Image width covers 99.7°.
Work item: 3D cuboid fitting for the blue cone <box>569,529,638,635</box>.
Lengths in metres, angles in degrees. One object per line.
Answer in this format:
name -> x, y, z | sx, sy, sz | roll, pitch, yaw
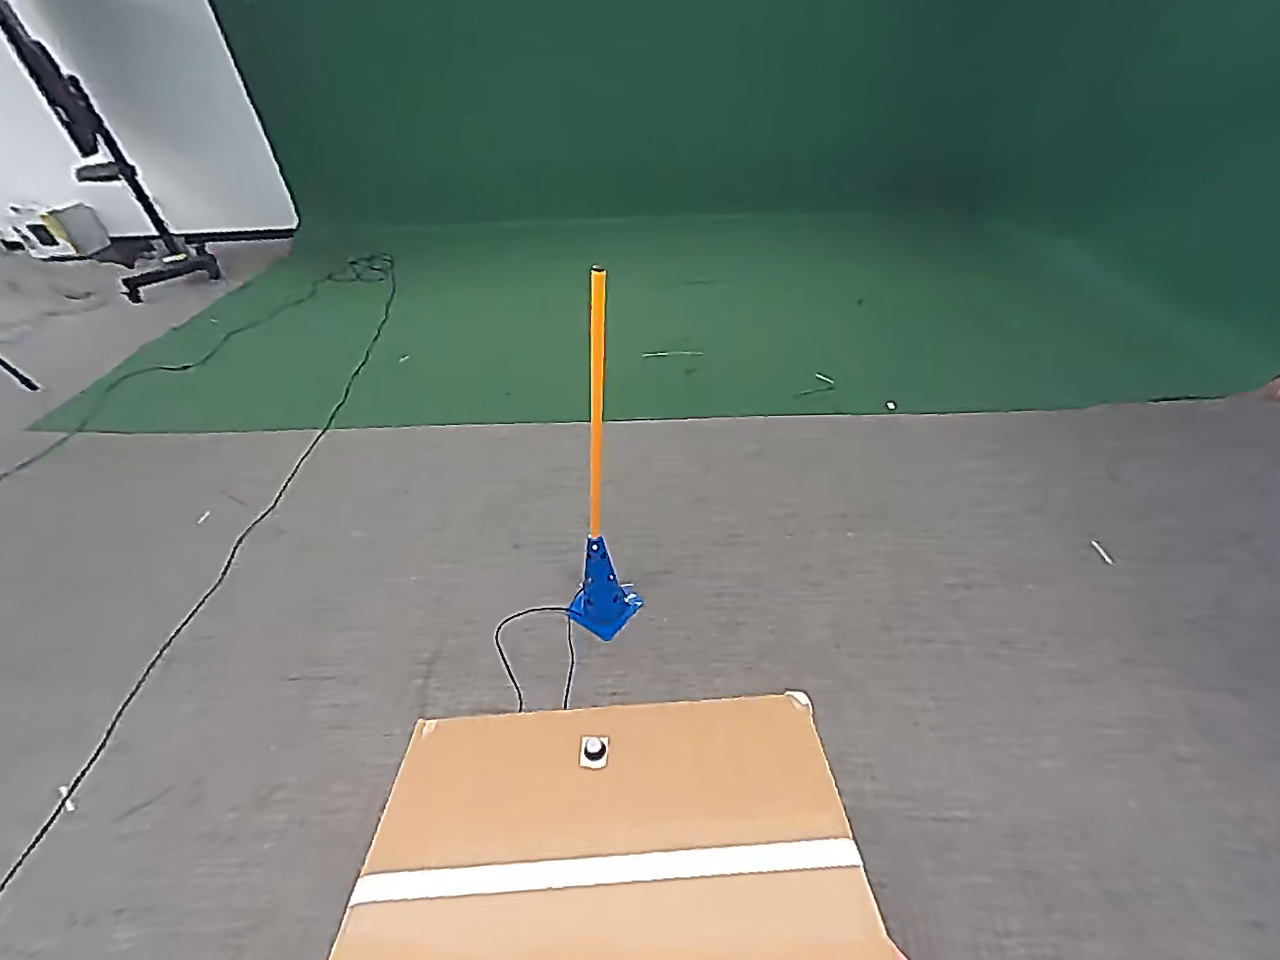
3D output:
blue cone -> -0.126, 0.291, 1.697 | 0.192, 0.380, 0.193 | 24, 47, 25
